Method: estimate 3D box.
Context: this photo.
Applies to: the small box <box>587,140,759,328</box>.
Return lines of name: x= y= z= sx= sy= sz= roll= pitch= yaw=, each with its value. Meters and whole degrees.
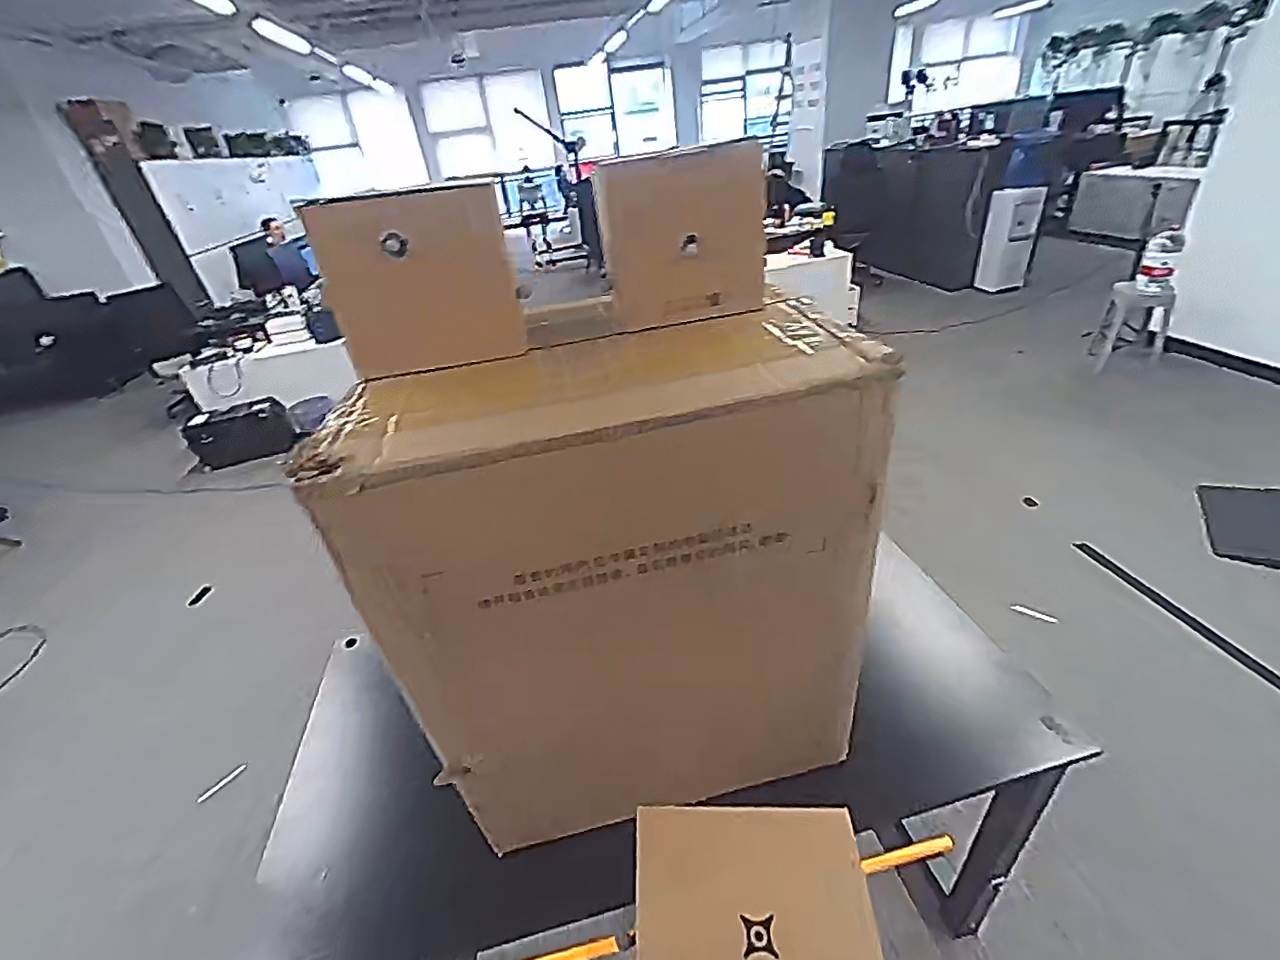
small box: x=0.037 y=-0.287 z=0.638 sx=0.168 sy=0.176 sz=0.179 roll=-11 pitch=31 yaw=-2

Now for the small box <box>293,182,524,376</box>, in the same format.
small box: x=-0.233 y=-0.224 z=0.600 sx=0.179 sy=0.176 sz=0.168 roll=-11 pitch=31 yaw=-7
